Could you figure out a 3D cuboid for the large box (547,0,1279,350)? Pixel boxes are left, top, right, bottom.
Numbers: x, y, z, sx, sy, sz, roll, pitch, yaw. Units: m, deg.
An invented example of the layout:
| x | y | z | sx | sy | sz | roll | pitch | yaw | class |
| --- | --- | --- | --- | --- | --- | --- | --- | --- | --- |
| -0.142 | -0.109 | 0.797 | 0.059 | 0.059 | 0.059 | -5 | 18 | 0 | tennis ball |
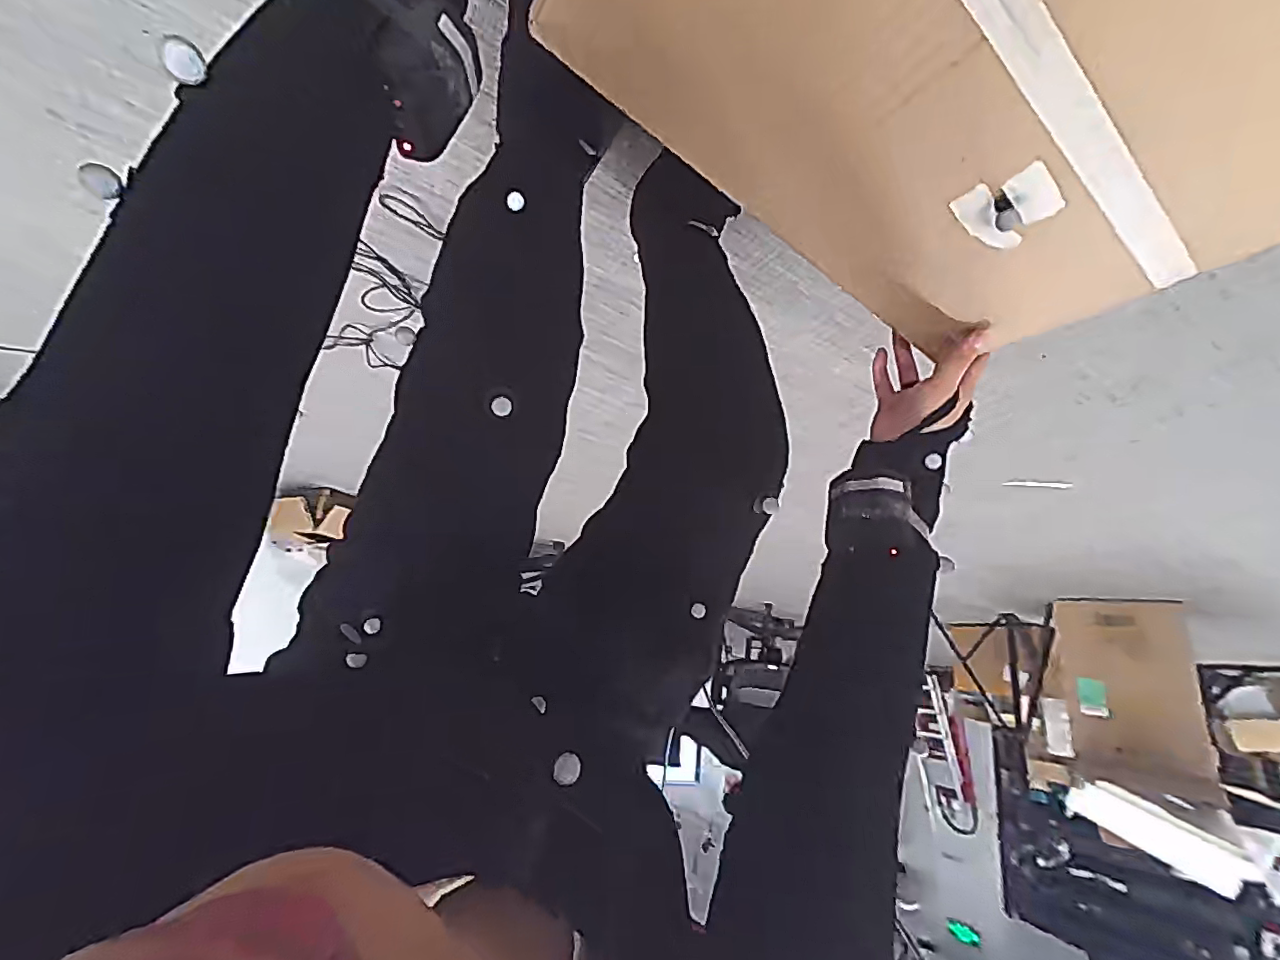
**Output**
| x | y | z | sx | sy | sz | roll | pitch | yaw | class |
| --- | --- | --- | --- | --- | --- | --- | --- | --- | --- |
| 0.211 | -0.344 | 0.312 | 0.408 | 0.320 | 0.320 | 20 | 157 | -31 | large box |
